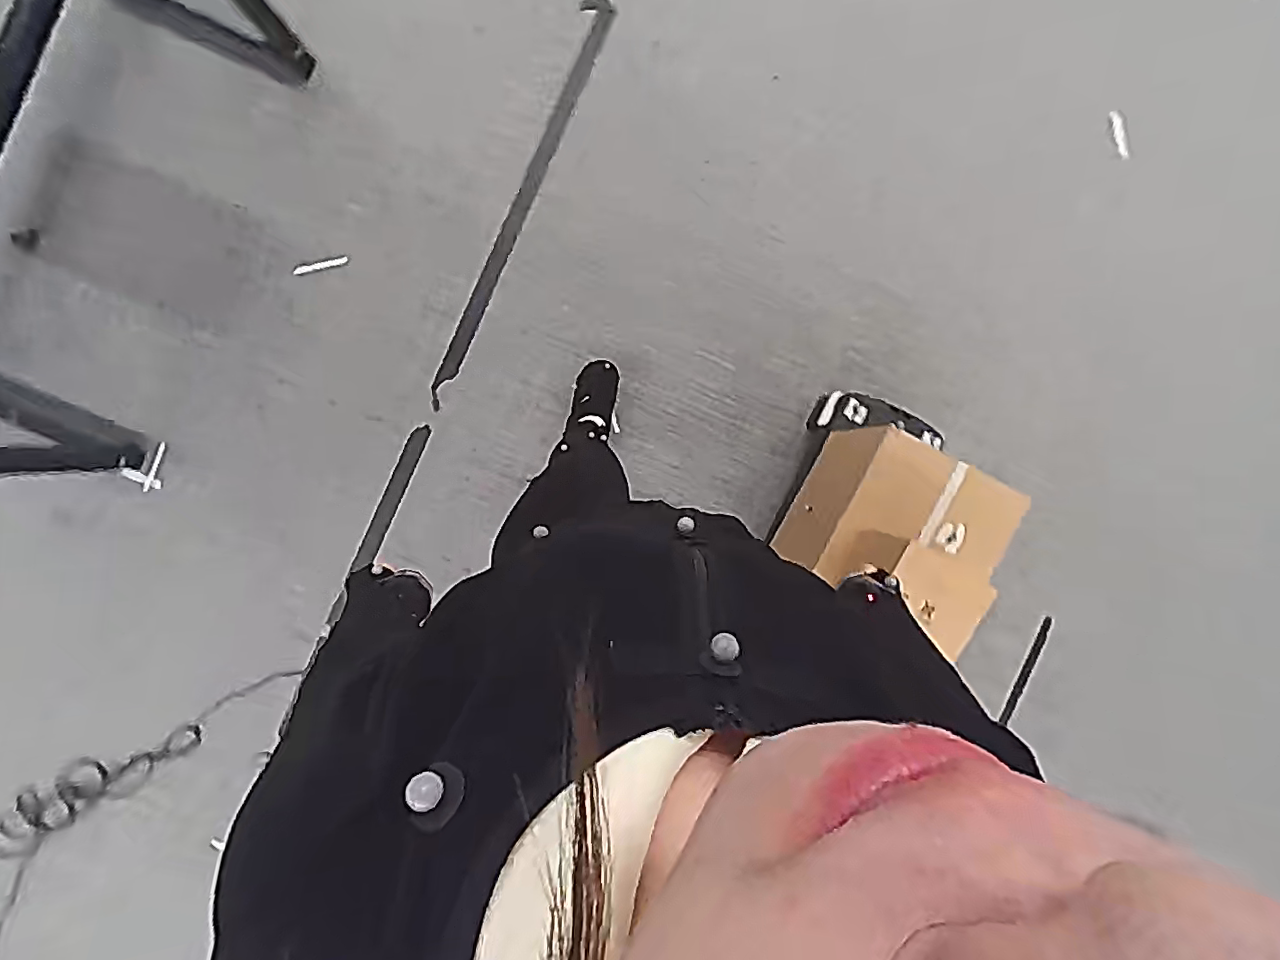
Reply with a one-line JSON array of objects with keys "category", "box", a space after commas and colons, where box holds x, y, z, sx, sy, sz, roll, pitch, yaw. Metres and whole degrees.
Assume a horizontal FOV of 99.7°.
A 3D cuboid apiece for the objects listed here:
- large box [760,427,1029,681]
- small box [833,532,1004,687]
[{"category": "large box", "box": [0.512, 0.141, 1.169, 0.320, 0.320, 0.408, 28, 91, -3]}, {"category": "small box", "box": [0.457, 0.209, 0.925, 0.168, 0.176, 0.179, 32, 91, -2]}]
